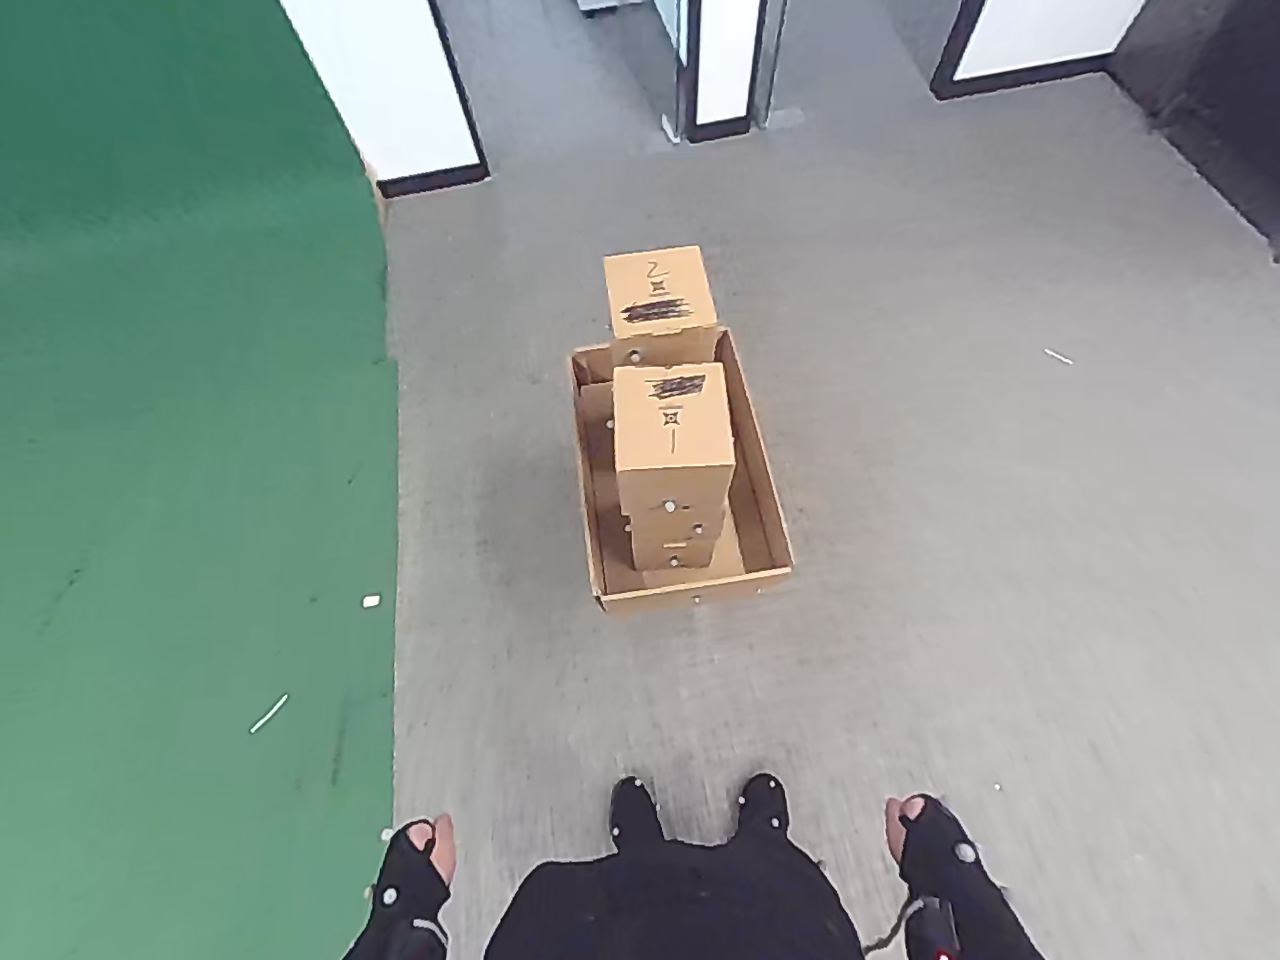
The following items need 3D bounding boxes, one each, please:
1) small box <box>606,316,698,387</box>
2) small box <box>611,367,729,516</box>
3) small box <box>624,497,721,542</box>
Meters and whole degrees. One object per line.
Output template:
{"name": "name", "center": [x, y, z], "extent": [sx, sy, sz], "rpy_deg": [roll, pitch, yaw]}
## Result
{"name": "small box", "center": [0.025, -0.205, 1.110], "extent": [0.168, 0.176, 0.179], "rpy_deg": [-9, 66, -3]}
{"name": "small box", "center": [0.040, -0.056, 0.851], "extent": [0.168, 0.176, 0.179], "rpy_deg": [-3, 65, 0]}
{"name": "small box", "center": [0.055, 0.011, 1.000], "extent": [0.168, 0.176, 0.179], "rpy_deg": [-3, 63, 0]}
